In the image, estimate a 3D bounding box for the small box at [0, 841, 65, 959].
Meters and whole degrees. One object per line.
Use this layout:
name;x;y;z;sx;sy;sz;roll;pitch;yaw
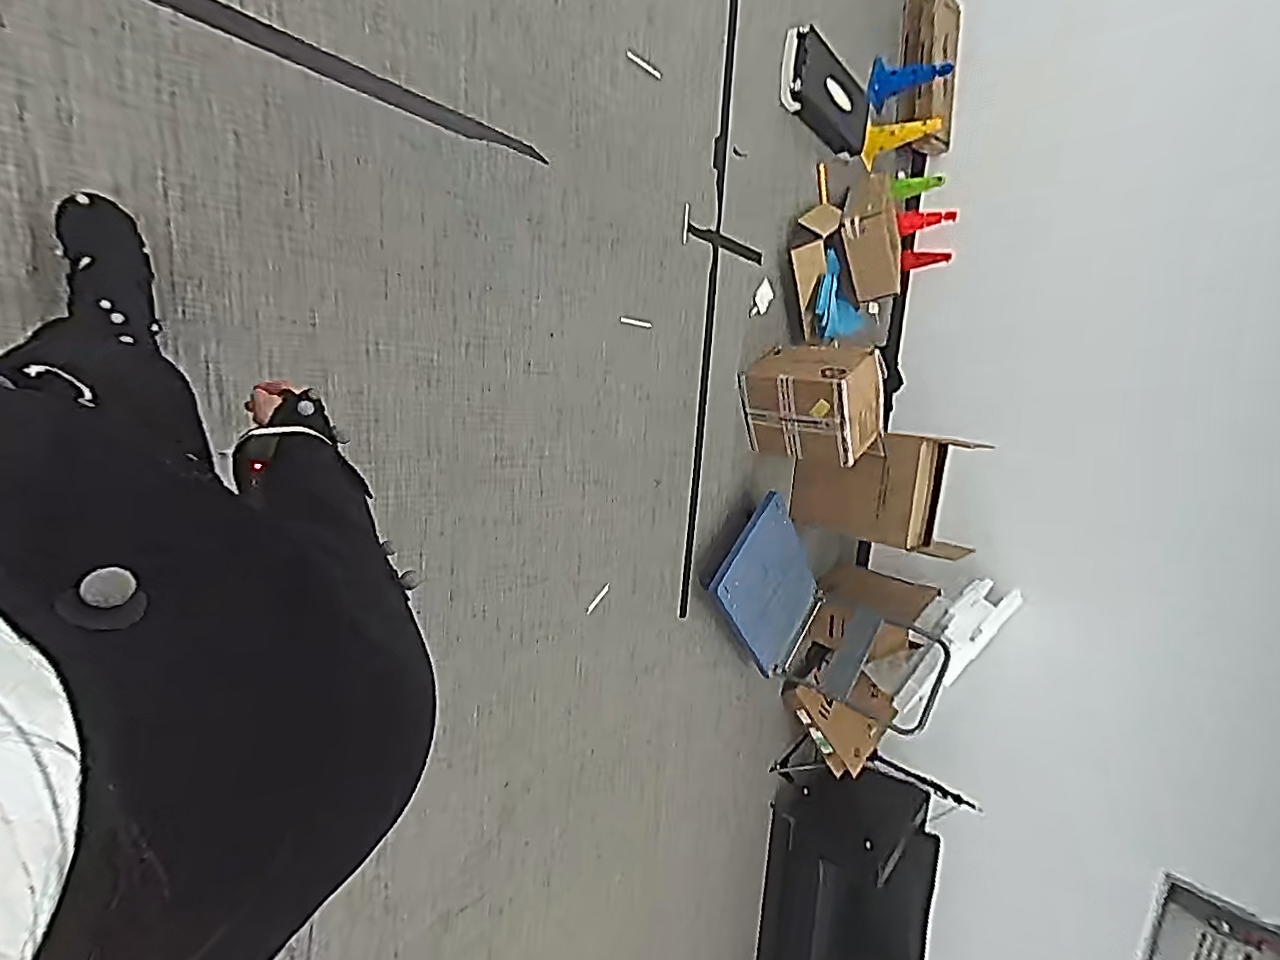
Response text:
small box;-0.975;0.695;0.801;0.168;0.176;0.179;-3;102;-47
